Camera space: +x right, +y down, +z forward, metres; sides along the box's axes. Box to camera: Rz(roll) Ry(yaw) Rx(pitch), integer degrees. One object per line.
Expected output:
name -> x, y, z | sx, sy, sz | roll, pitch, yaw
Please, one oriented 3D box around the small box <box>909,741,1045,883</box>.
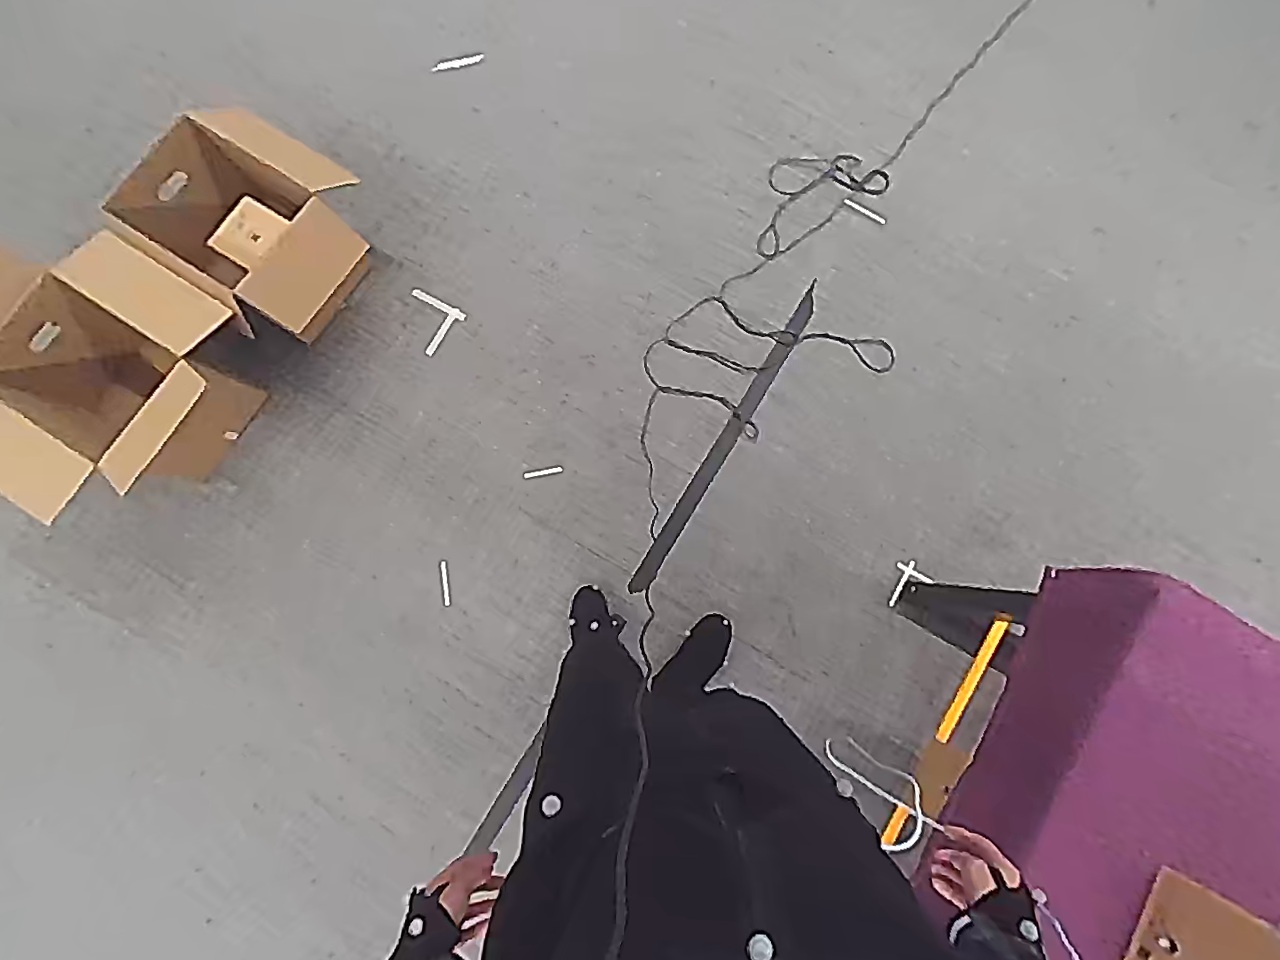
small box -> 0.729, 0.721, 1.196 | 0.168, 0.176, 0.179 | 29, 83, 4
